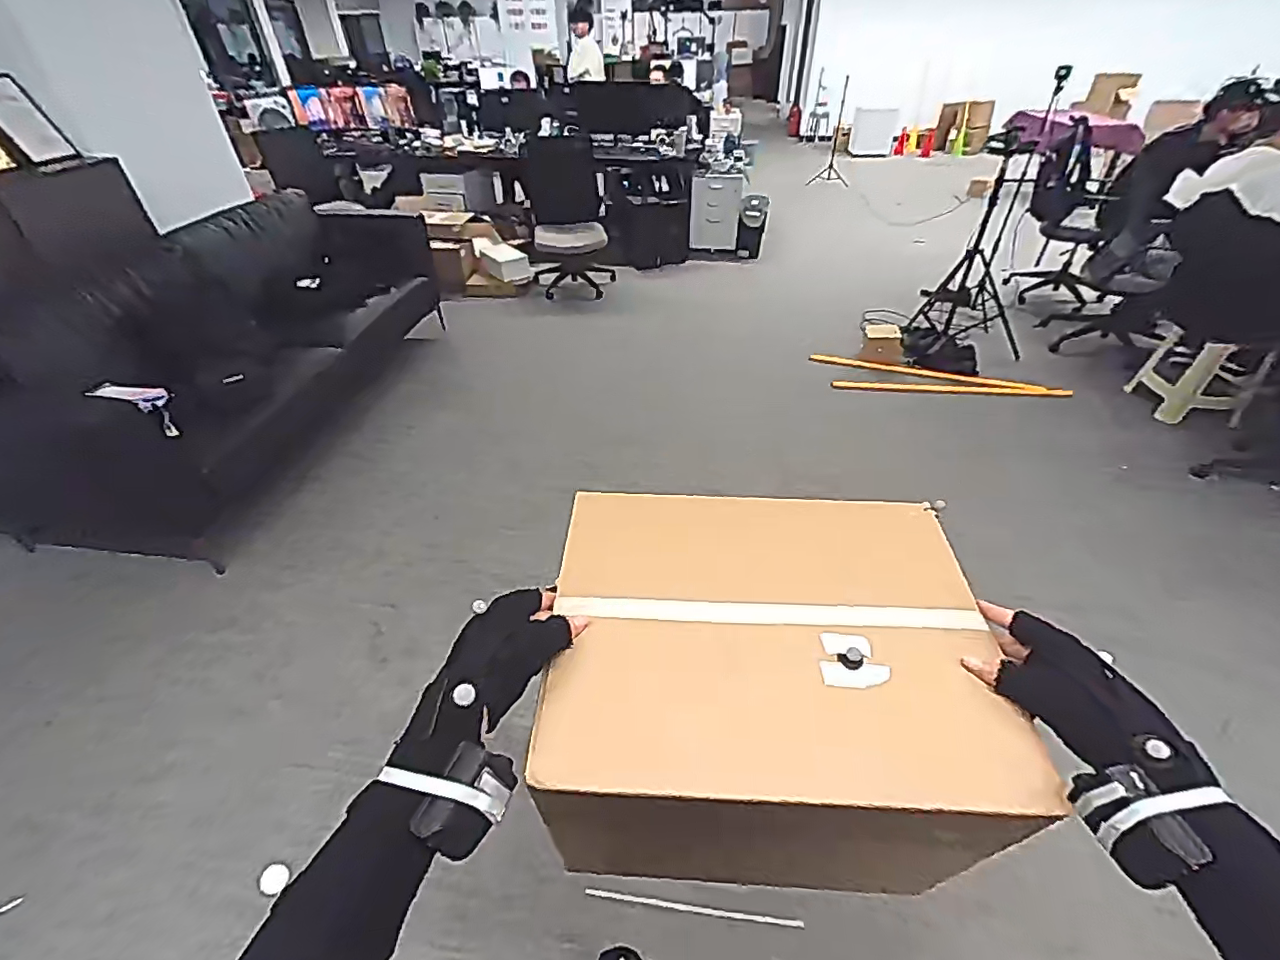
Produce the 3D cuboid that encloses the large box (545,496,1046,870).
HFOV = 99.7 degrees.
[{"bbox_3d":[0.122,0.235,0.631,0.408,0.320,0.320,2,45,1],"label":"large box"}]
